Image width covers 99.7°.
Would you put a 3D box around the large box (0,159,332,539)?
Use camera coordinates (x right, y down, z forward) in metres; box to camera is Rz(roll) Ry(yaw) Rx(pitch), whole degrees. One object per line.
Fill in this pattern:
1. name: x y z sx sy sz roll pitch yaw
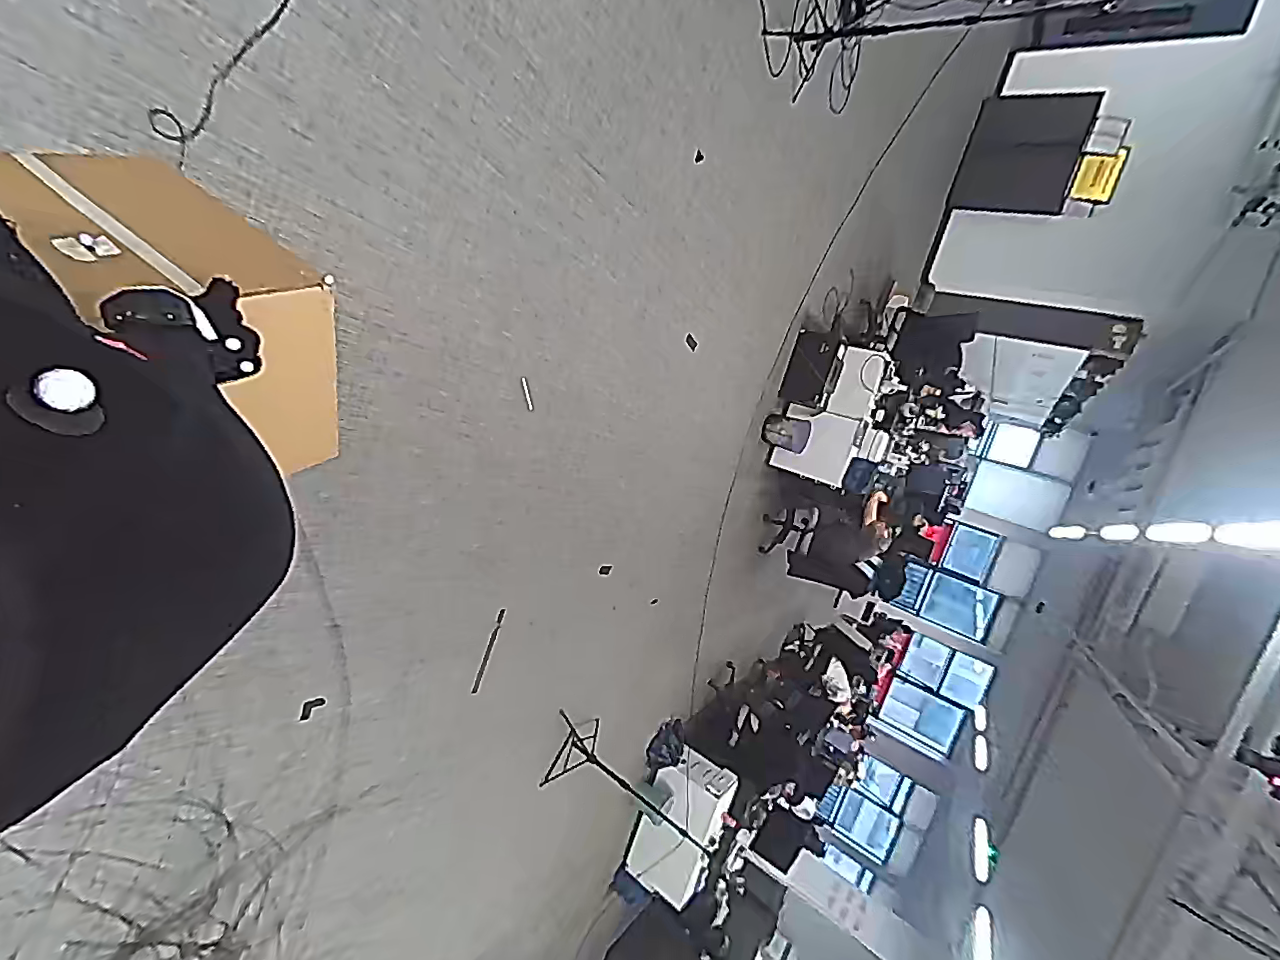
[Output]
1. large box: -0.707 -0.197 0.758 0.320 0.408 0.320 -40 161 -49
